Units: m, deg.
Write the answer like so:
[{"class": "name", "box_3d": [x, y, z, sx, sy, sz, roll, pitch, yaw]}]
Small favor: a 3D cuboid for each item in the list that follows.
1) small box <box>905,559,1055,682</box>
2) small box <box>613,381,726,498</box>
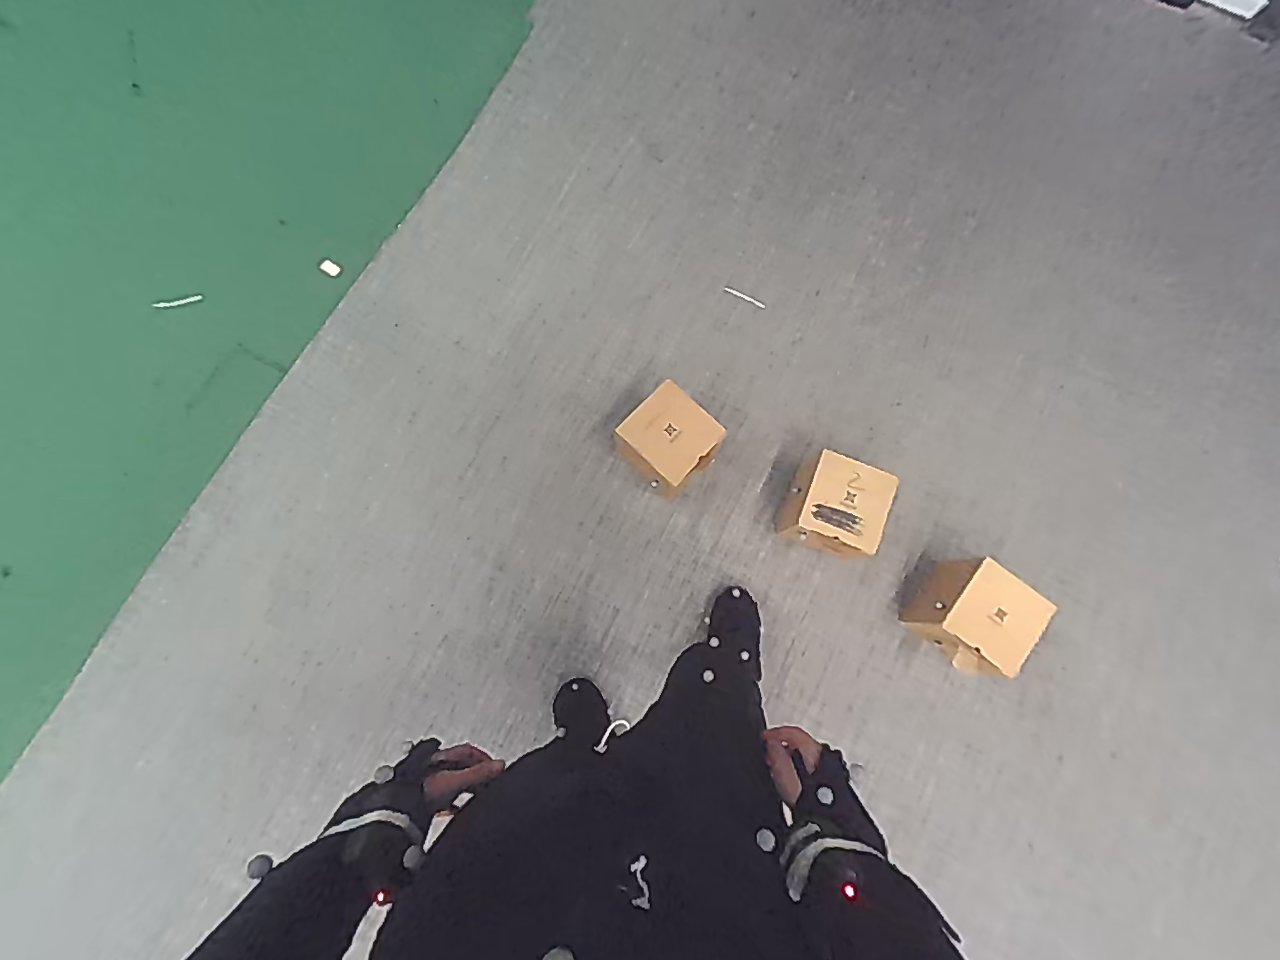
[{"class": "small box", "box_3d": [0.692, 0.285, 1.123, 0.168, 0.176, 0.179, 38, 80, 6]}, {"class": "small box", "box_3d": [0.059, -0.078, 1.182, 0.179, 0.176, 0.168, 43, 79, 8]}]
